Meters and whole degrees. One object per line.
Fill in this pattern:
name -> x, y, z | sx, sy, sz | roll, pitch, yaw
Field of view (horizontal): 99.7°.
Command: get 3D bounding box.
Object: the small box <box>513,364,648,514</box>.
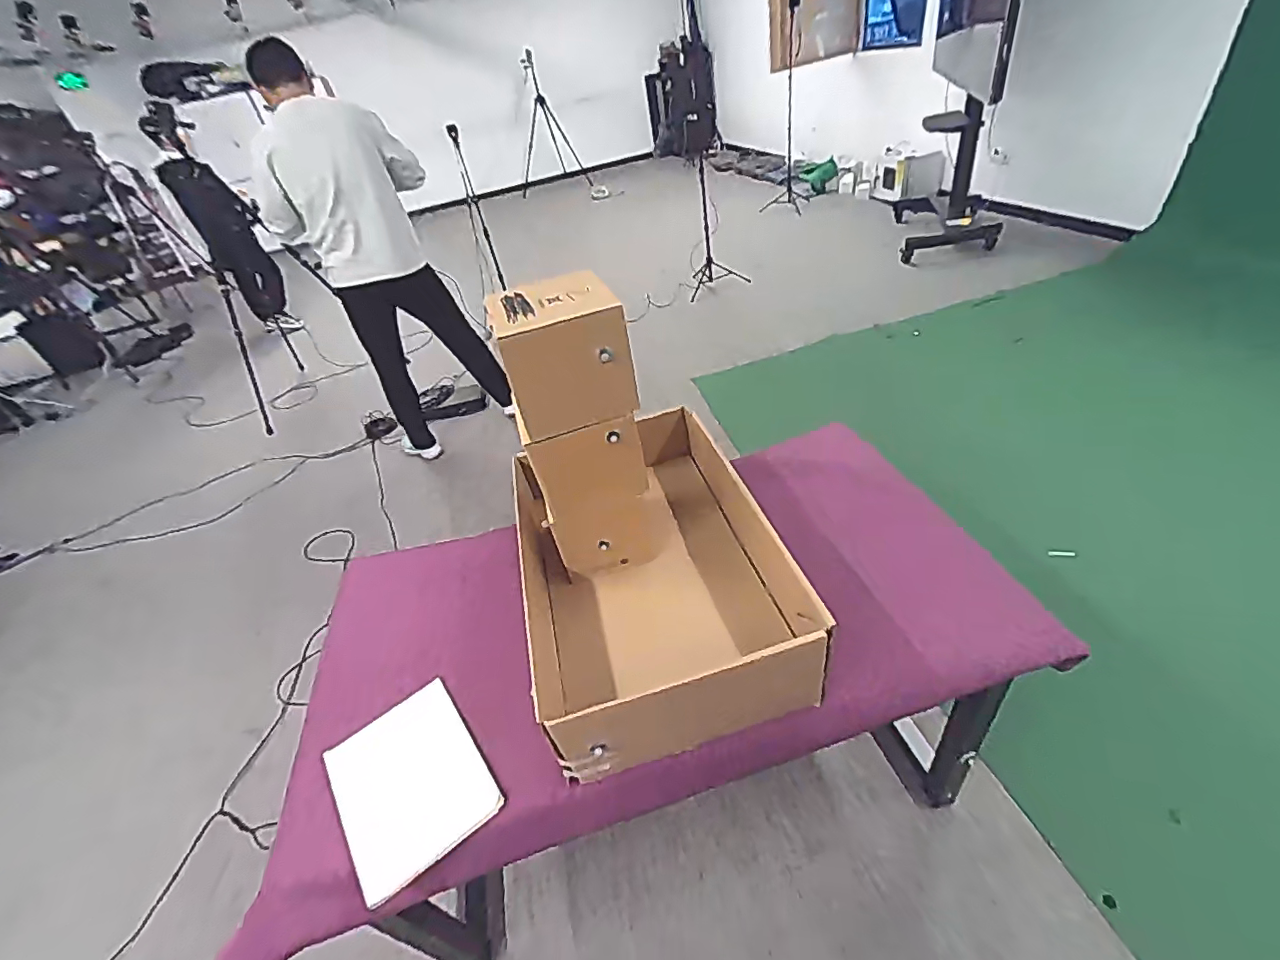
small box -> -0.099, -0.067, 0.916 | 0.179, 0.176, 0.168 | -17, 41, -7

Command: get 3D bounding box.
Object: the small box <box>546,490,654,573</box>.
small box -> -0.079, 0.054, 1.022 | 0.168, 0.176, 0.179 | -16, 41, -5
